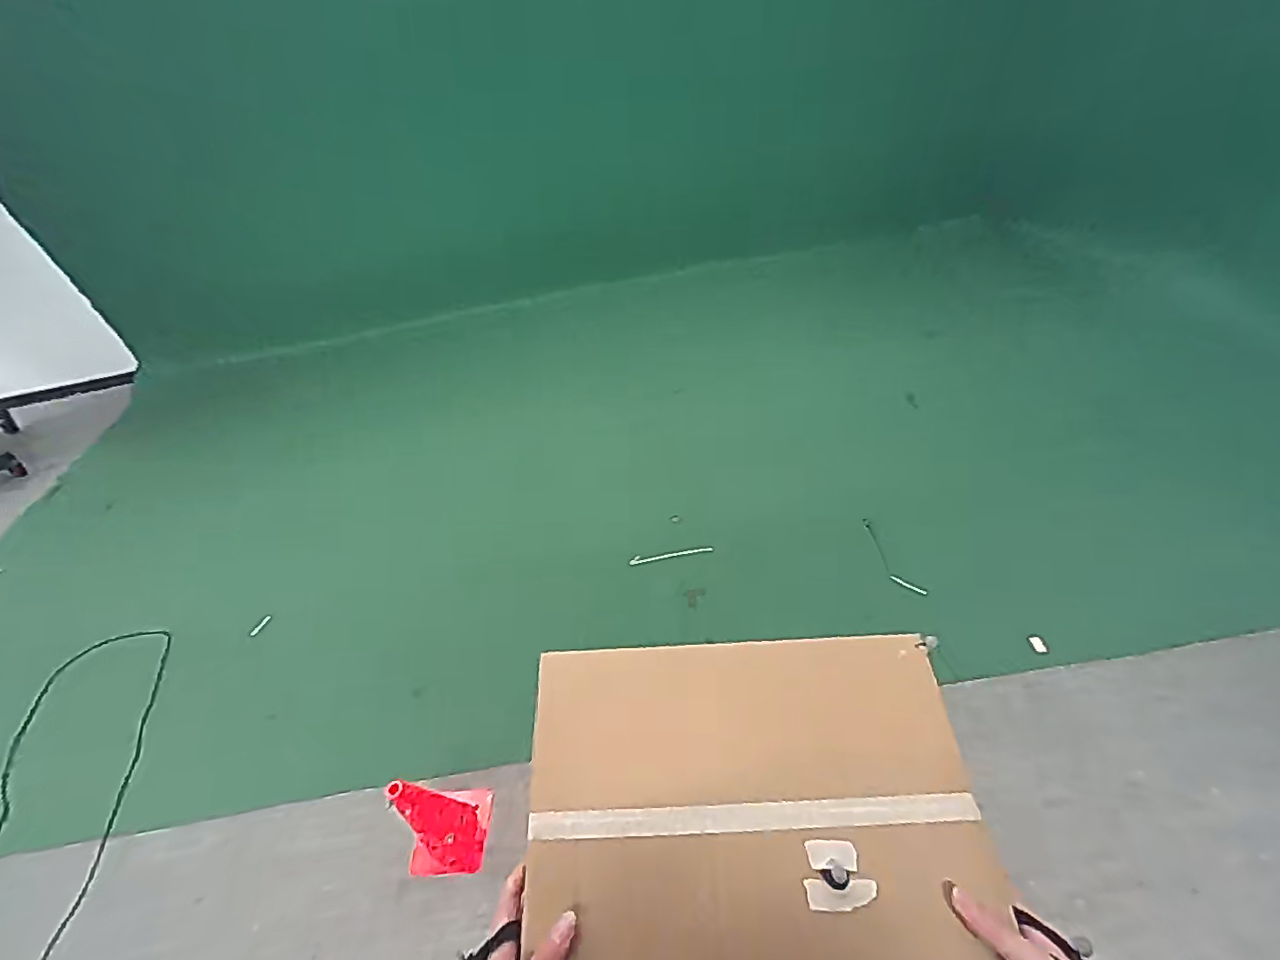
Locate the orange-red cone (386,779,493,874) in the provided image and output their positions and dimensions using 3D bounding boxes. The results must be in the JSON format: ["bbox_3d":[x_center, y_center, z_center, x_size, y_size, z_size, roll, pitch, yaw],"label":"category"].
[{"bbox_3d":[-0.542,0.837,1.365,0.199,0.360,0.198,-7,43,7],"label":"orange-red cone"}]

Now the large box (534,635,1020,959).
[{"bbox_3d":[0.110,0.390,0.623,0.408,0.320,0.320,-4,57,1],"label":"large box"}]
